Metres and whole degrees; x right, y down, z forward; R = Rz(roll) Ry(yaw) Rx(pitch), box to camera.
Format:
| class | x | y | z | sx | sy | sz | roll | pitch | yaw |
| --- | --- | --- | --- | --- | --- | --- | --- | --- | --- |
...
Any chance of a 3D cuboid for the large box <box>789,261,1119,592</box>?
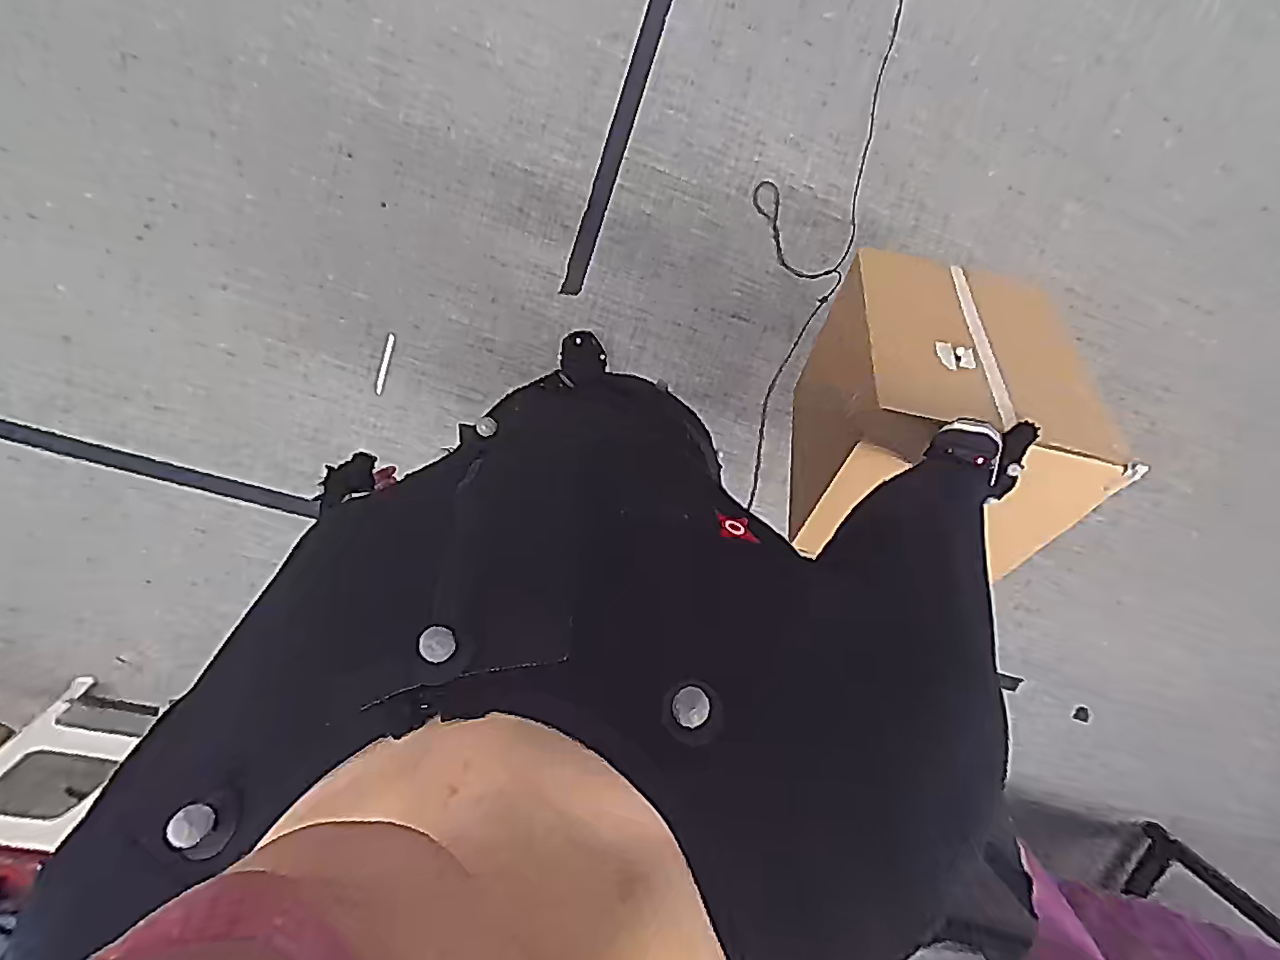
| class | x | y | z | sx | sy | sz | roll | pitch | yaw |
| --- | --- | --- | --- | --- | --- | --- | --- | --- | --- |
| large box | 0.449 | -0.089 | 0.895 | 0.320 | 0.408 | 0.320 | 14 | 141 | 1 |
